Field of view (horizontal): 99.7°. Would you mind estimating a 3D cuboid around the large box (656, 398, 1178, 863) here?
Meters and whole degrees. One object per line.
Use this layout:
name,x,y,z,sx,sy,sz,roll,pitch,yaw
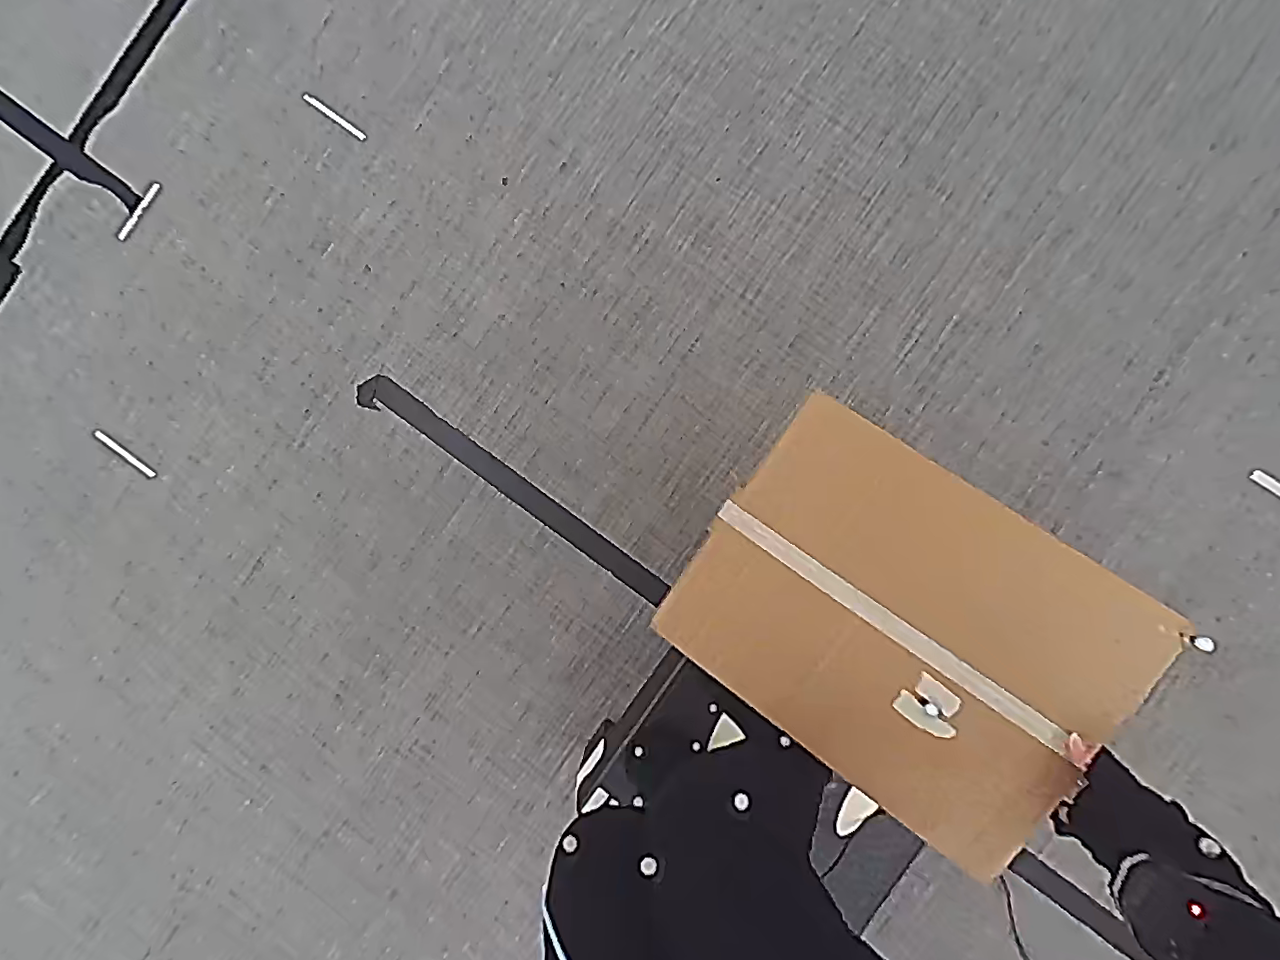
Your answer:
large box,0.288,0.147,0.697,0.408,0.320,0.320,35,97,12
